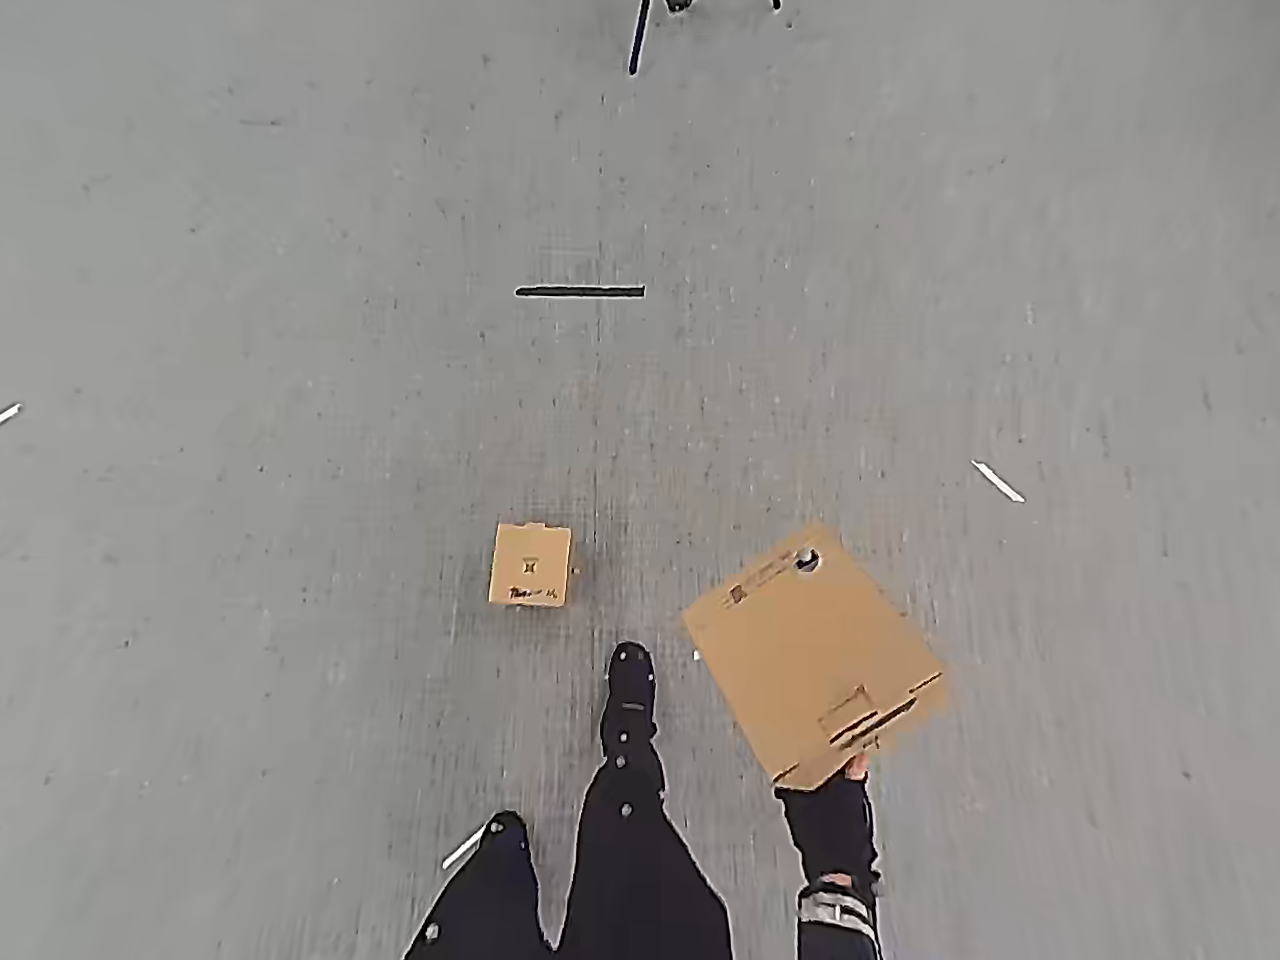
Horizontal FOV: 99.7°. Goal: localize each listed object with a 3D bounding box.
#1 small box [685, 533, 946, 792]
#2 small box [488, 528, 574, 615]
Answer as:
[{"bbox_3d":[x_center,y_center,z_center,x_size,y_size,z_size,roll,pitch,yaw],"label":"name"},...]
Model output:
[{"bbox_3d":[0.171,0.178,0.539,0.168,0.179,0.176,-37,49,6],"label":"small box"},{"bbox_3d":[-0.247,0.218,1.266,0.168,0.176,0.179,5,75,-2],"label":"small box"}]
